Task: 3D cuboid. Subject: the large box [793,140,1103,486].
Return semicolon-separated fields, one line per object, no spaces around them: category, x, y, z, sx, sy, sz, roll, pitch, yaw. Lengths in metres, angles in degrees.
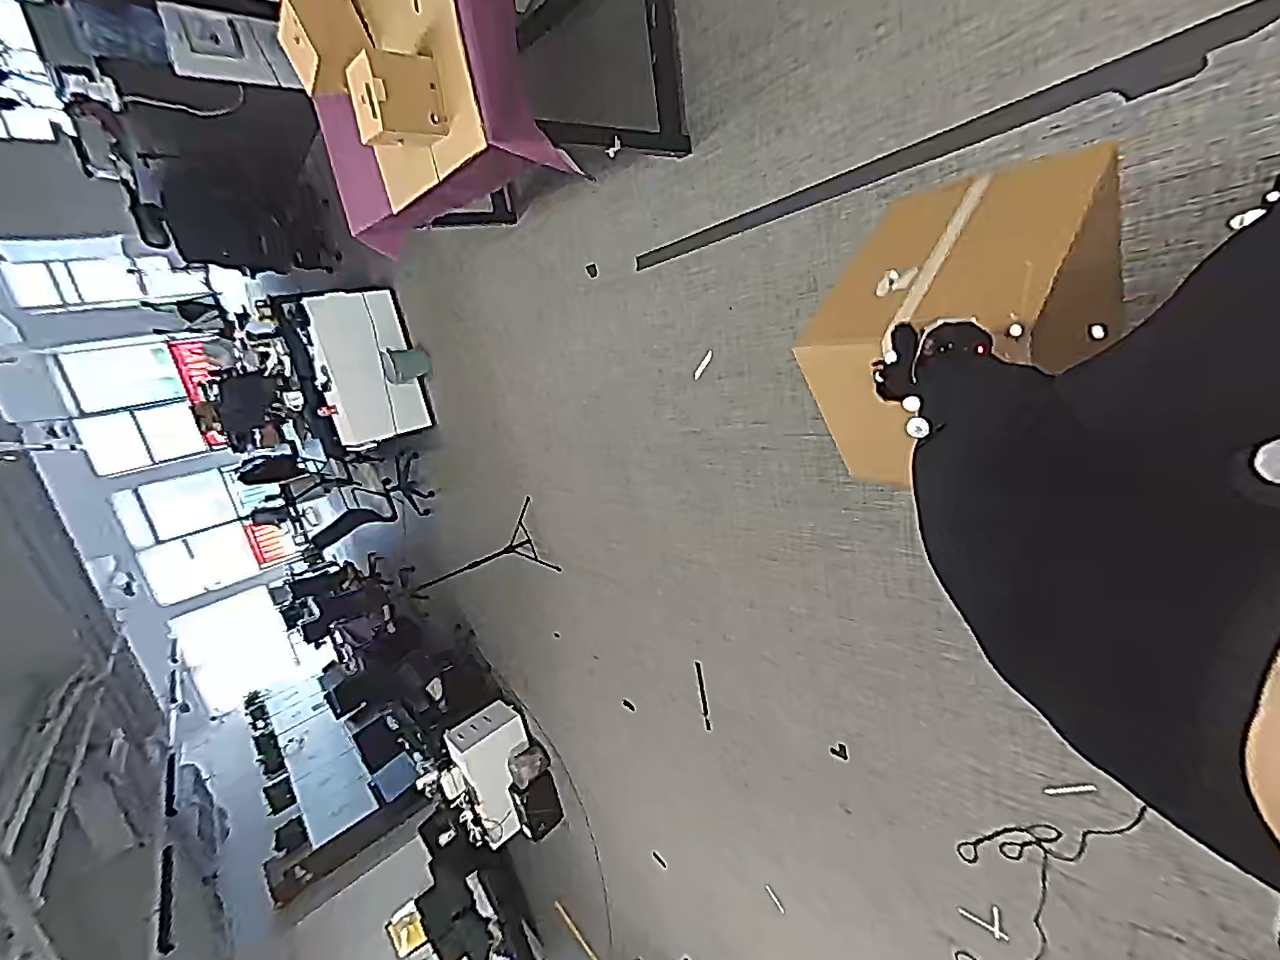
large box;0.519;-0.253;0.888;0.320;0.408;0.320;10;150;49
